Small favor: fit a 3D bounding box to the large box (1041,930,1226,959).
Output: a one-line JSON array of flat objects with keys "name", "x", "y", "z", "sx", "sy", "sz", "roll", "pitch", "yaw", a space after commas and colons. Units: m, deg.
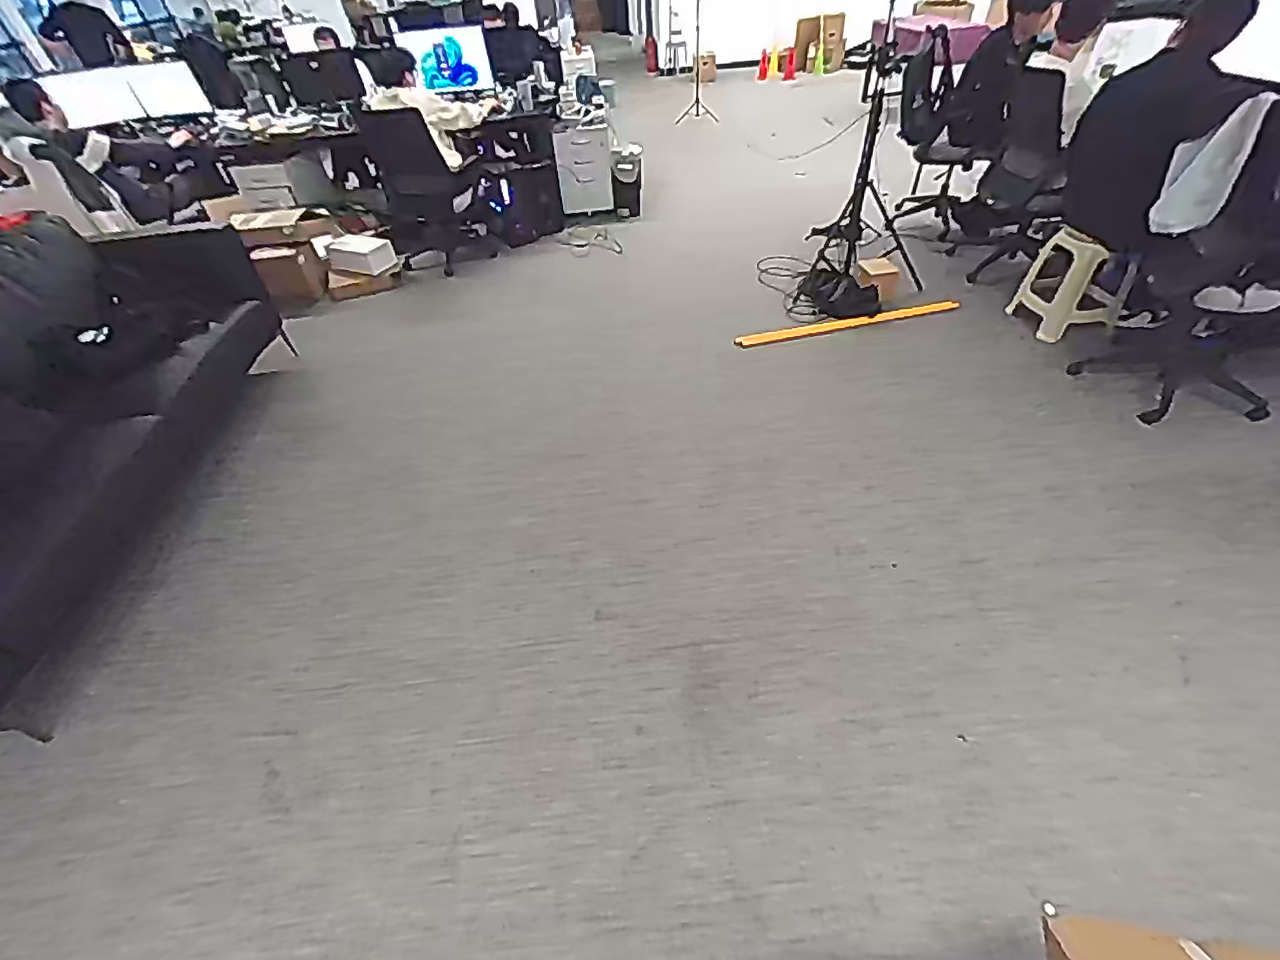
[{"name": "large box", "x": 0.651, "y": 0.752, "z": 0.509, "sx": 0.320, "sy": 0.408, "sz": 0.320, "roll": 1, "pitch": 83, "yaw": 17}]
